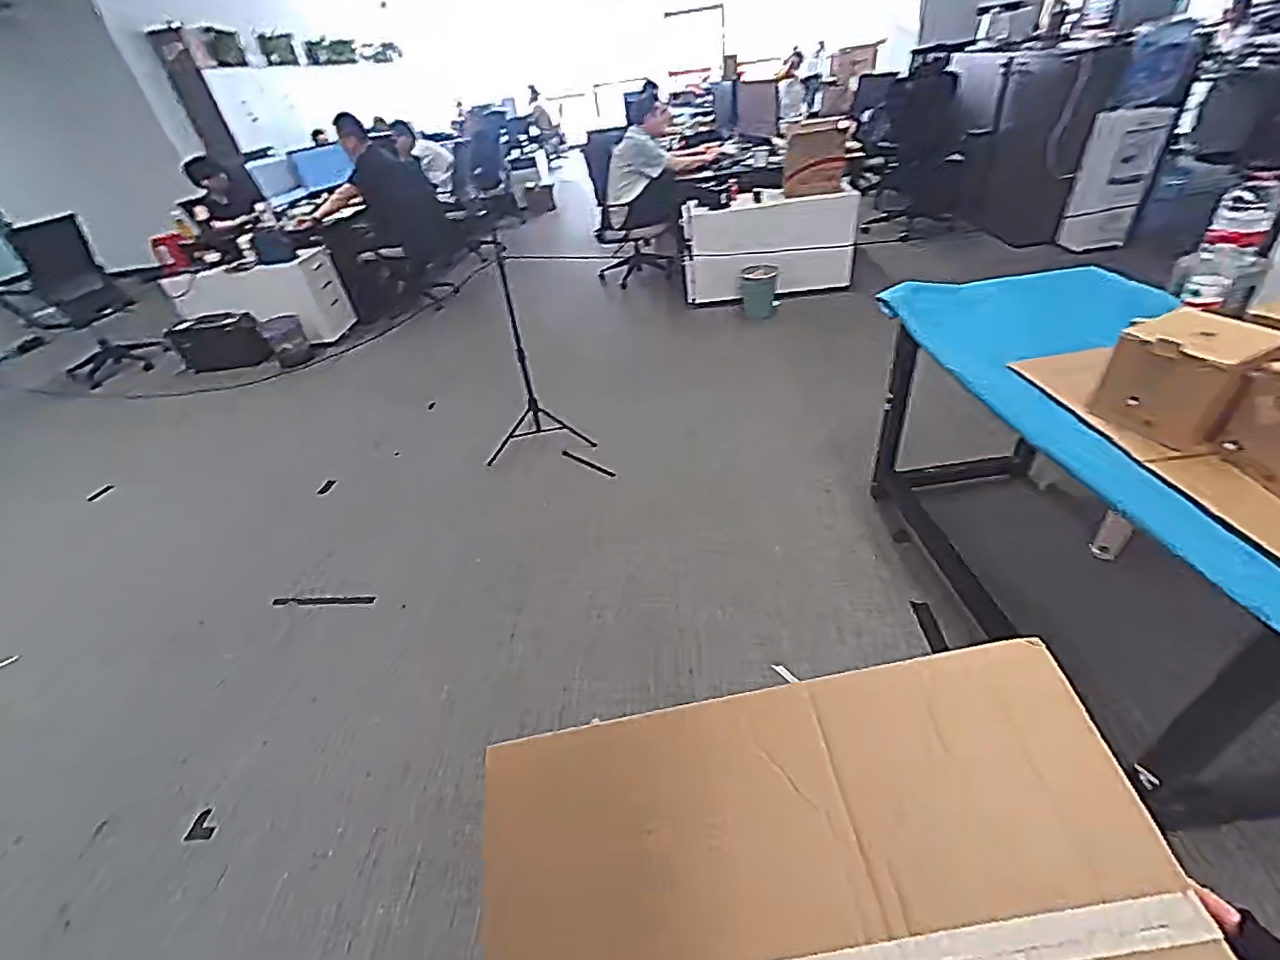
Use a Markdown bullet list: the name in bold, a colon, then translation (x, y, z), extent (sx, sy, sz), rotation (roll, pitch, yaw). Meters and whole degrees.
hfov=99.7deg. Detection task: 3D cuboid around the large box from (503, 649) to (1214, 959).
- **large box**: translation (0.137, 0.374, 0.430), extent (0.408, 0.320, 0.320), rotation (-13, 55, 3)
